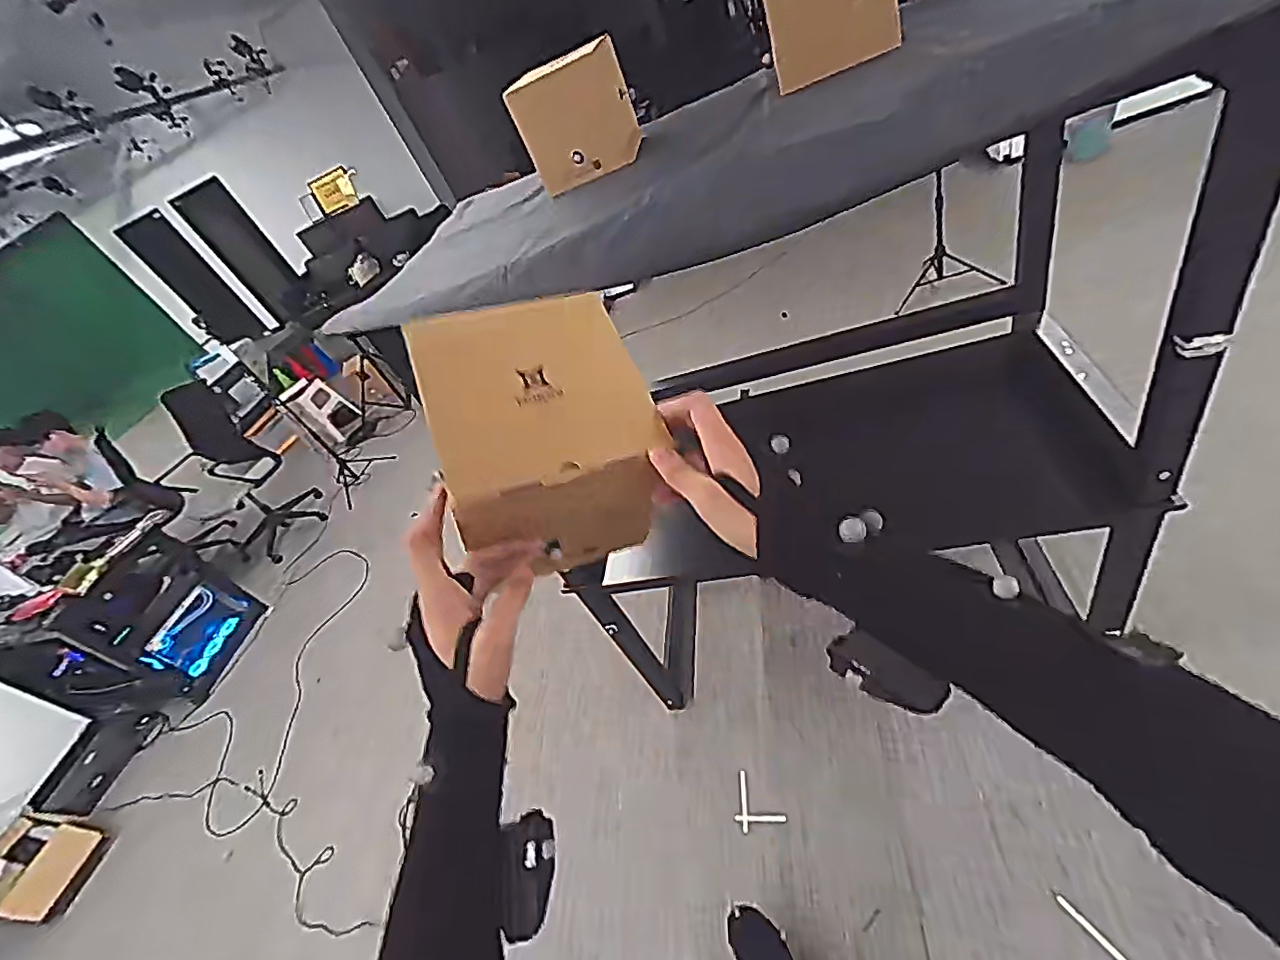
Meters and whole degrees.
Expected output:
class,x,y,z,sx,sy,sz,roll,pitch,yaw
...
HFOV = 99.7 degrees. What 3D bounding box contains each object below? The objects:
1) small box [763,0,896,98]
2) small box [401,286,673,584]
class,x,y,z,sx,sy,sz,roll,pitch,yaw
small box,0.285,-0.725,0.826,0.179,0.176,0.168,-10,41,20
small box,-0.093,-0.037,0.474,0.168,0.176,0.179,-17,62,-18
